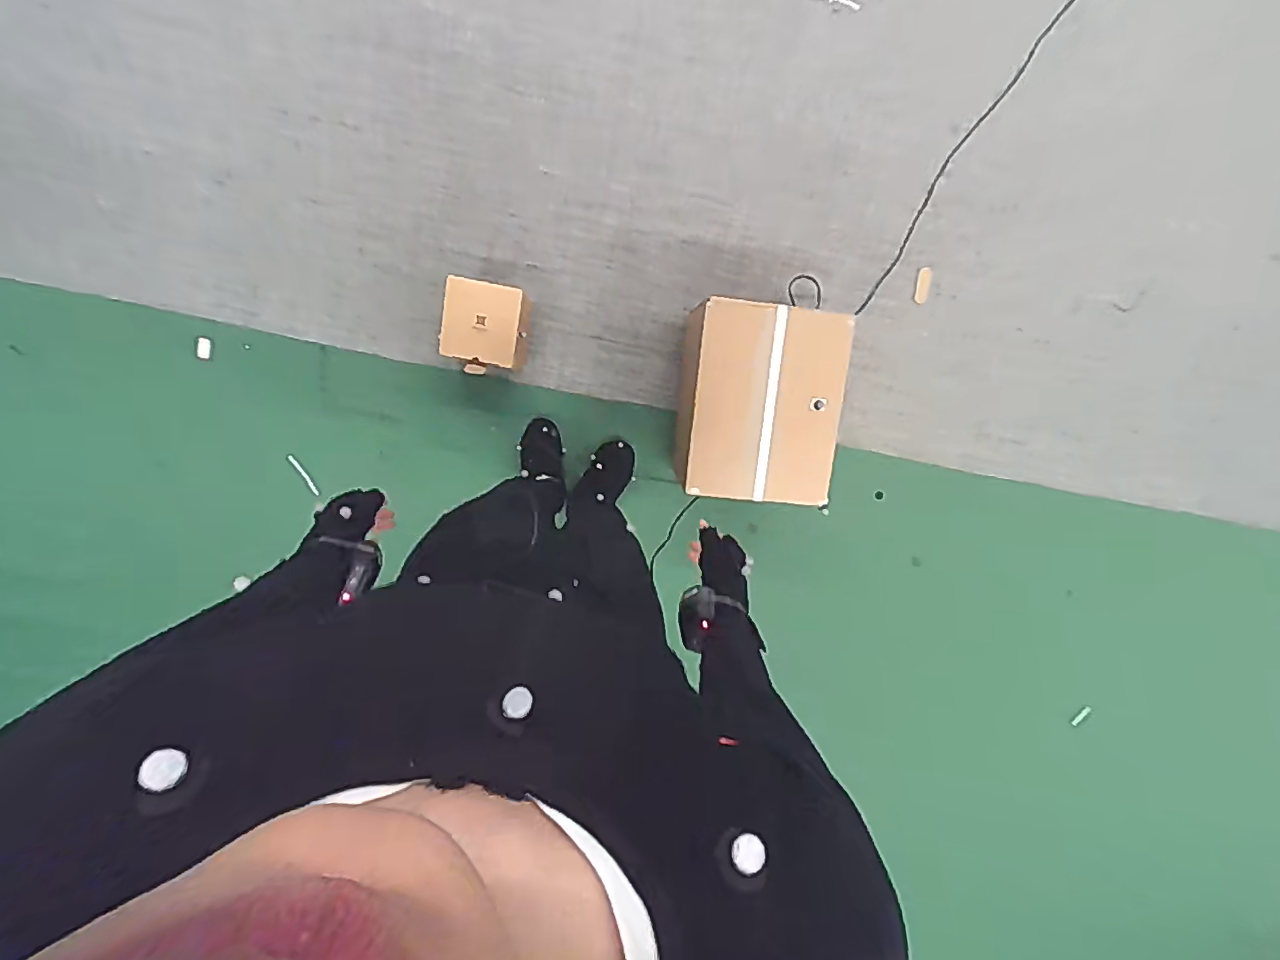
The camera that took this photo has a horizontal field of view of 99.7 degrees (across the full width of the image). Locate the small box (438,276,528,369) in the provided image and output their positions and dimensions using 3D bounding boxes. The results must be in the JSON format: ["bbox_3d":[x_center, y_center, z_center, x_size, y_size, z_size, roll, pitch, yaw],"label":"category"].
[{"bbox_3d":[-0.363,-0.364,1.278,0.168,0.176,0.179,9,102,-6],"label":"small box"}]
